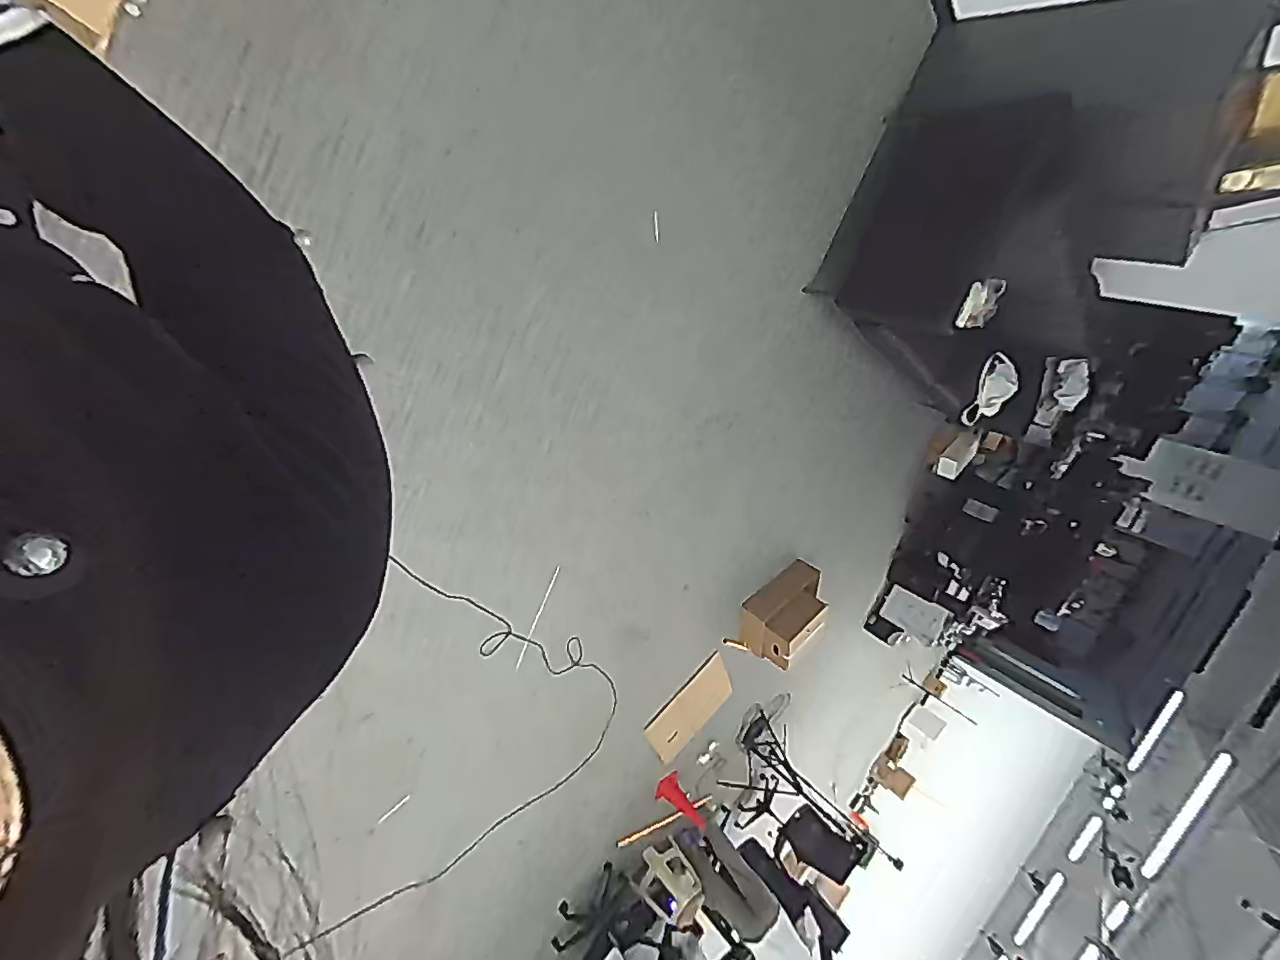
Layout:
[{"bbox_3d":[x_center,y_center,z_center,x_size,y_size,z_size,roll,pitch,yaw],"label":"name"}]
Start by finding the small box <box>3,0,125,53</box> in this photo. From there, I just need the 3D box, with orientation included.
[{"bbox_3d":[-0.687,-0.635,0.611,0.168,0.176,0.179,19,98,-50],"label":"small box"}]
